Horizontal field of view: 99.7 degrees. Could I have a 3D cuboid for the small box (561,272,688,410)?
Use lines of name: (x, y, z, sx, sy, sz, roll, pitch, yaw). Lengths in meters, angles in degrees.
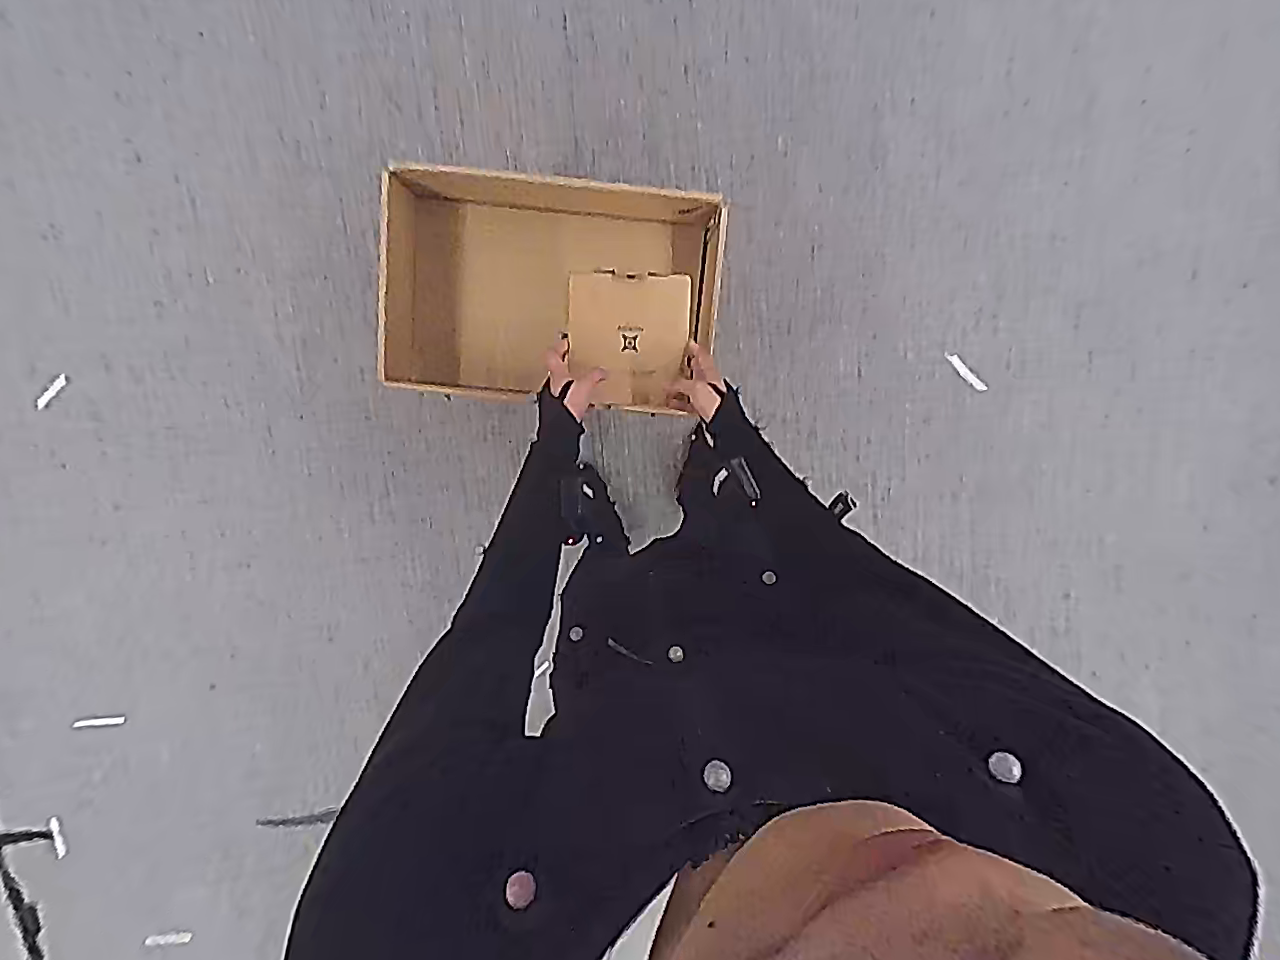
small box: (-0.032, -0.196, 0.797, 0.168, 0.176, 0.179, 0, 102, -9)
